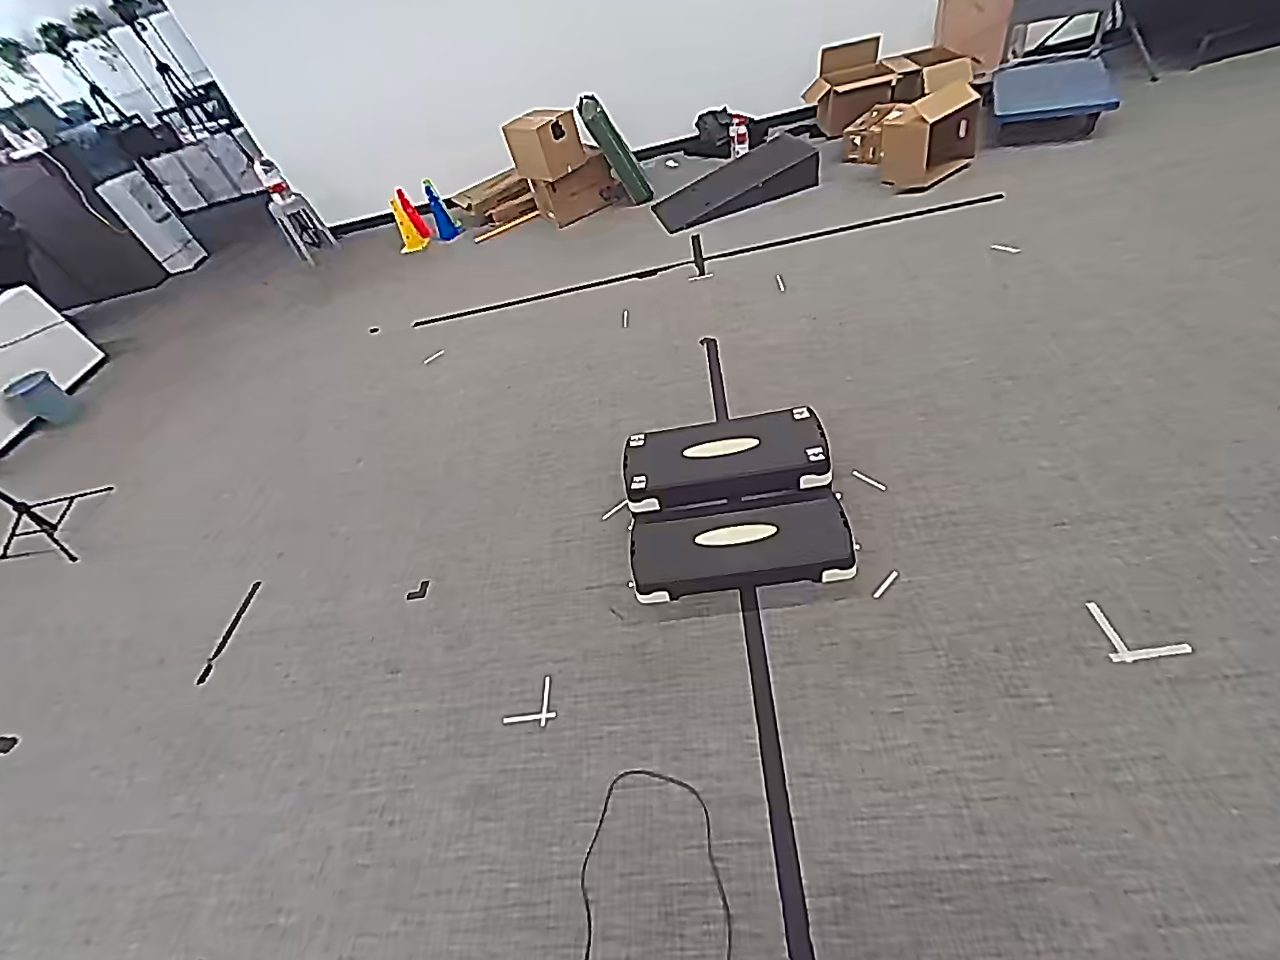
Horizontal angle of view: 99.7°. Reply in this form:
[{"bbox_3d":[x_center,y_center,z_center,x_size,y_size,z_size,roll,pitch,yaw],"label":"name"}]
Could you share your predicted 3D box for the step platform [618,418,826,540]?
[{"bbox_3d":[0.265,-0.007,1.834,0.684,0.204,0.286,-9,47,7],"label":"step platform"}]
